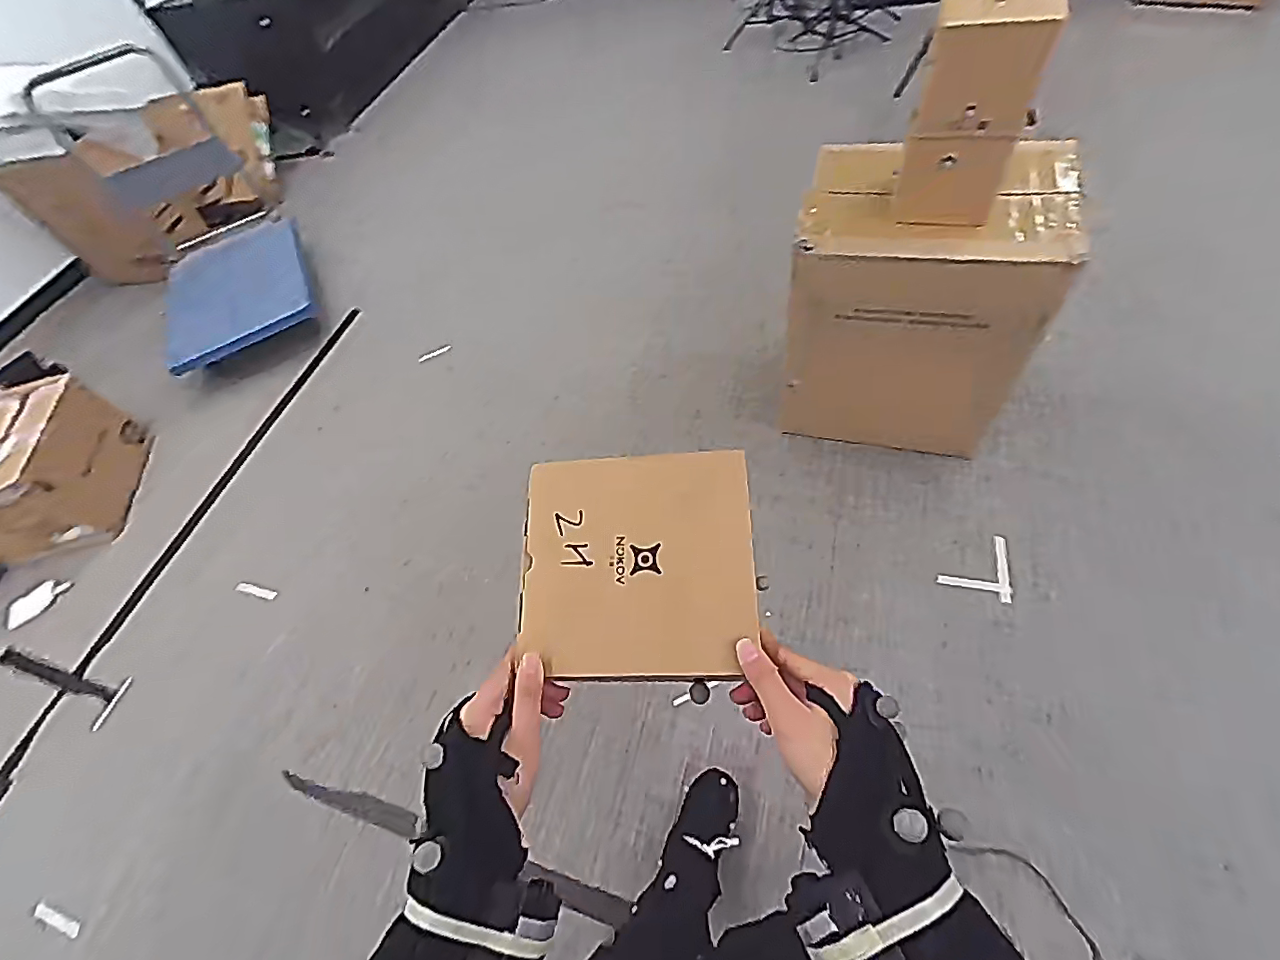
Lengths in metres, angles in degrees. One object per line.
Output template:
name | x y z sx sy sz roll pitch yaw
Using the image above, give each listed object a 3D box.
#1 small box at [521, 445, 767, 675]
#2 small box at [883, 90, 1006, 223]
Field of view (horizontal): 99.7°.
small box | 0.013 0.080 0.477 0.179 0.176 0.168 -3 68 9
small box | 0.586 -0.626 1.057 0.179 0.176 0.168 11 61 17
